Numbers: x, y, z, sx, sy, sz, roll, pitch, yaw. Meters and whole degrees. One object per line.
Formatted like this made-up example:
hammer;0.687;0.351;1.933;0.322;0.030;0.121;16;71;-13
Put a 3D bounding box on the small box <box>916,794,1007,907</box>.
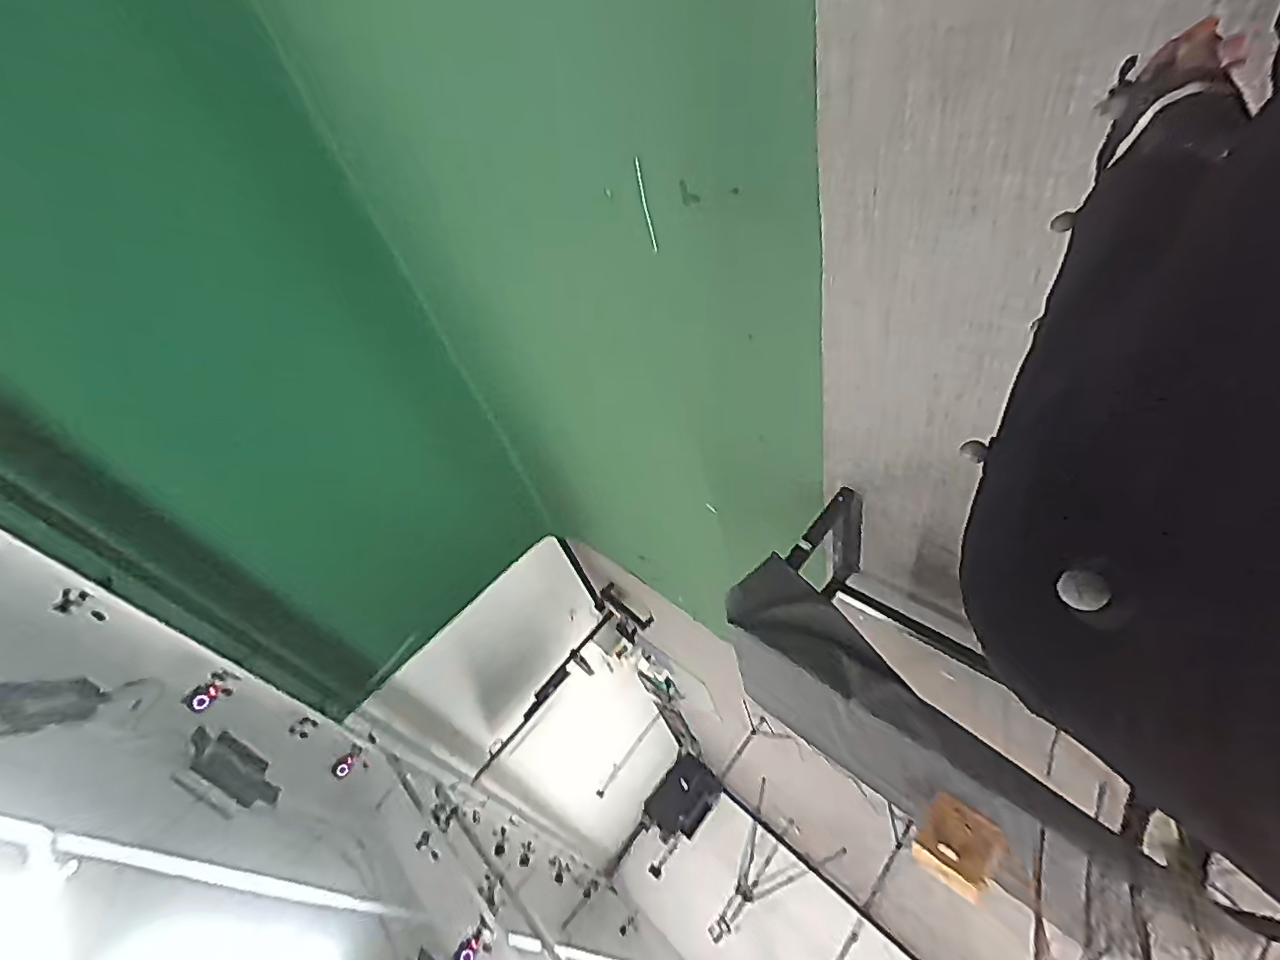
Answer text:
small box;0.883;1.014;1.488;0.168;0.176;0.179;22;147;45
